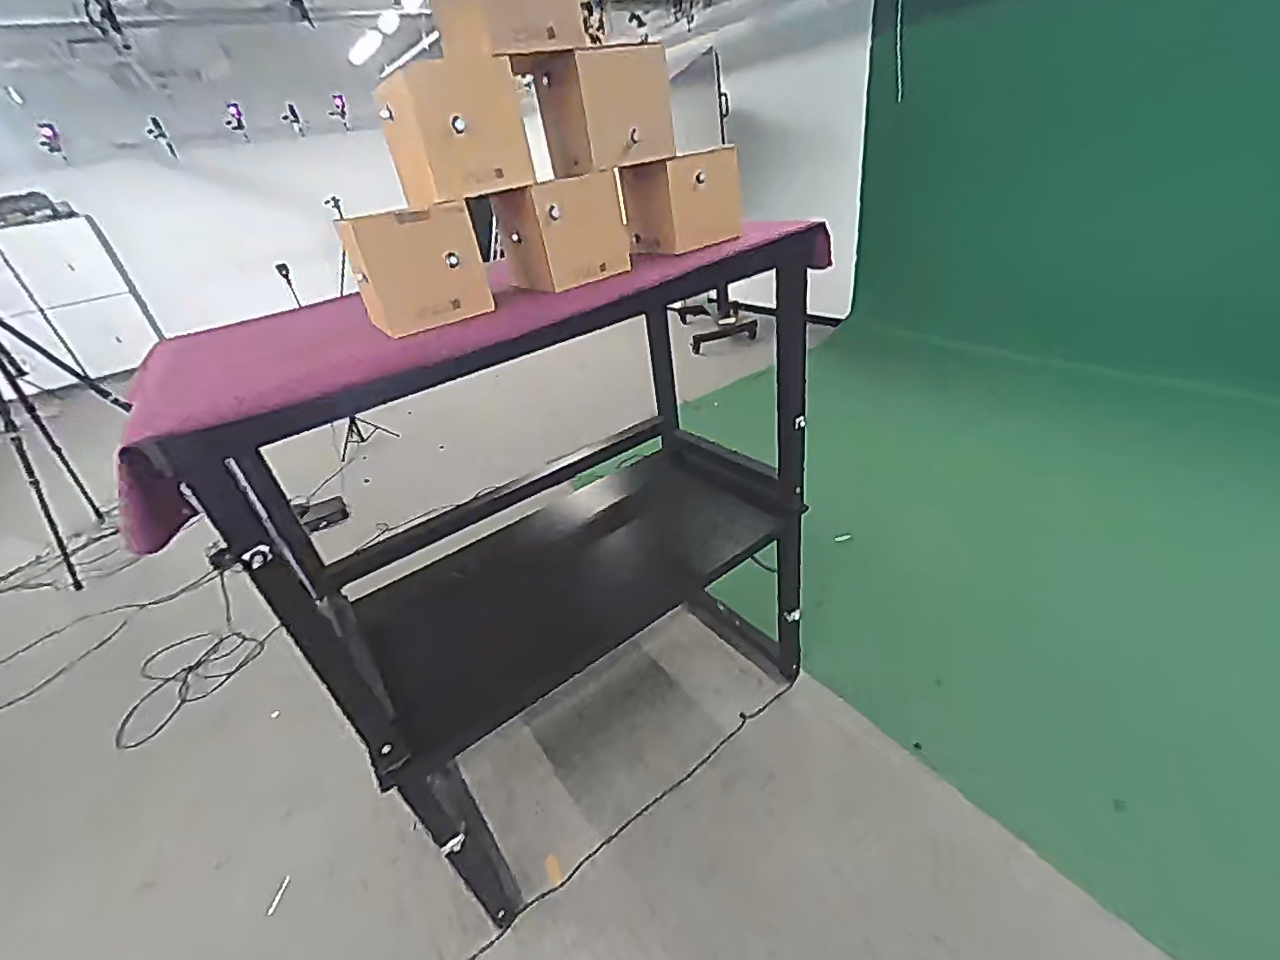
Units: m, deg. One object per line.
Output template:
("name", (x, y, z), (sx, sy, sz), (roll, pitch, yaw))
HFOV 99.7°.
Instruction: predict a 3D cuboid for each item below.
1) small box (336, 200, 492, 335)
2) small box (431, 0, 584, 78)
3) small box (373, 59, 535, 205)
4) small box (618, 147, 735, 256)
("small box", (-0.357, -0.341, 0.868), (0.168, 0.176, 0.179), (-25, 34, -26))
("small box", (-0.206, -0.729, 0.825), (0.168, 0.176, 0.179), (-28, 35, -26))
("small box", (-0.287, -0.534, 0.851), (0.168, 0.176, 0.179), (-28, 35, -26))
("small box", (0.081, -0.569, 1.115), (0.179, 0.176, 0.168), (-27, 35, -26))
